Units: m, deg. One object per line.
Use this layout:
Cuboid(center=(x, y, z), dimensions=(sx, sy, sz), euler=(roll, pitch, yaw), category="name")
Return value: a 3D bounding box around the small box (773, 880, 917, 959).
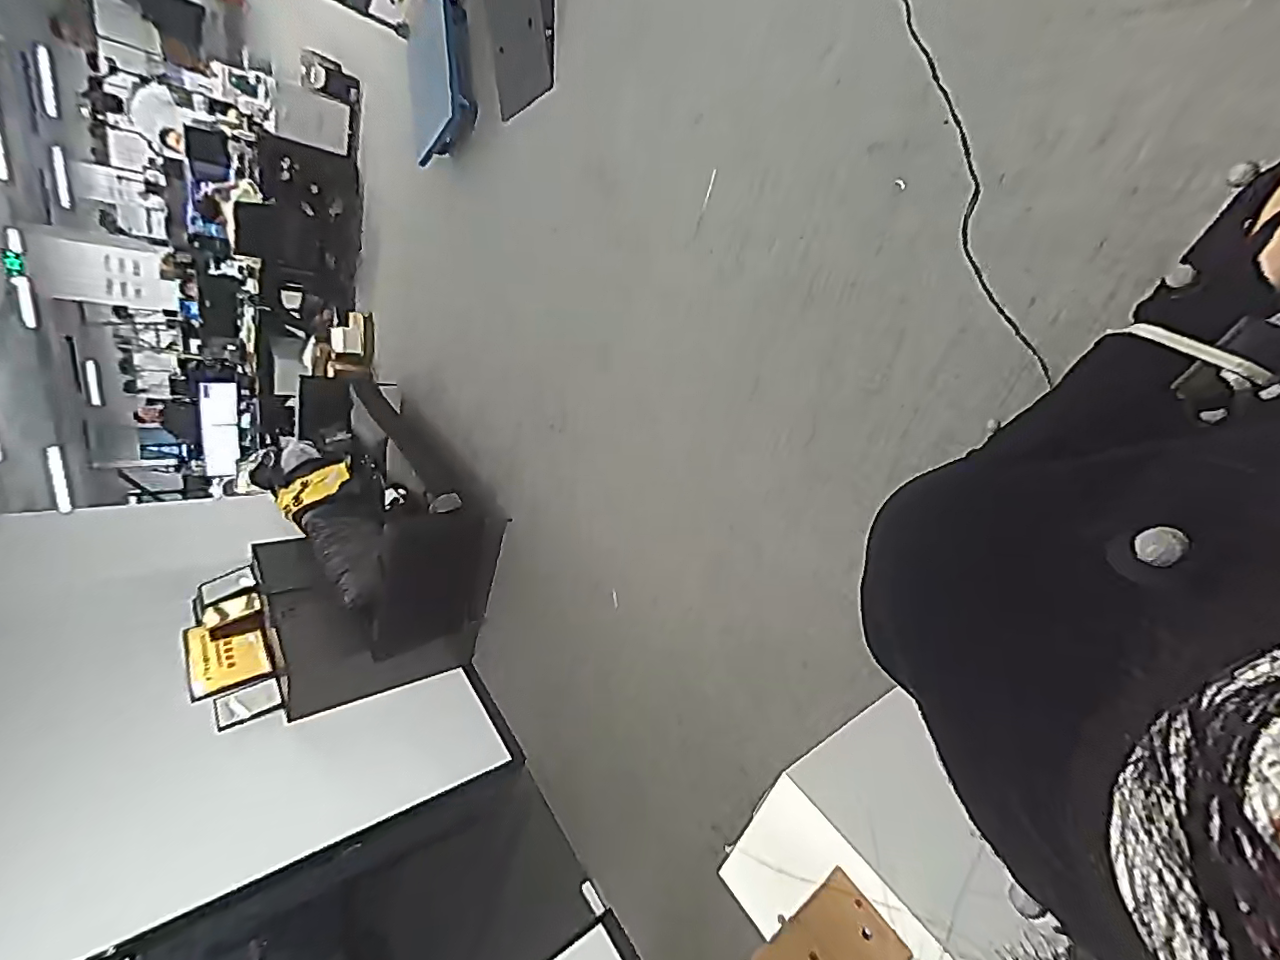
Cuboid(center=(0.362, 0.879, 0.969), dimensions=(0.168, 0.176, 0.179), euler=(40, 124, 39), category="small box")
